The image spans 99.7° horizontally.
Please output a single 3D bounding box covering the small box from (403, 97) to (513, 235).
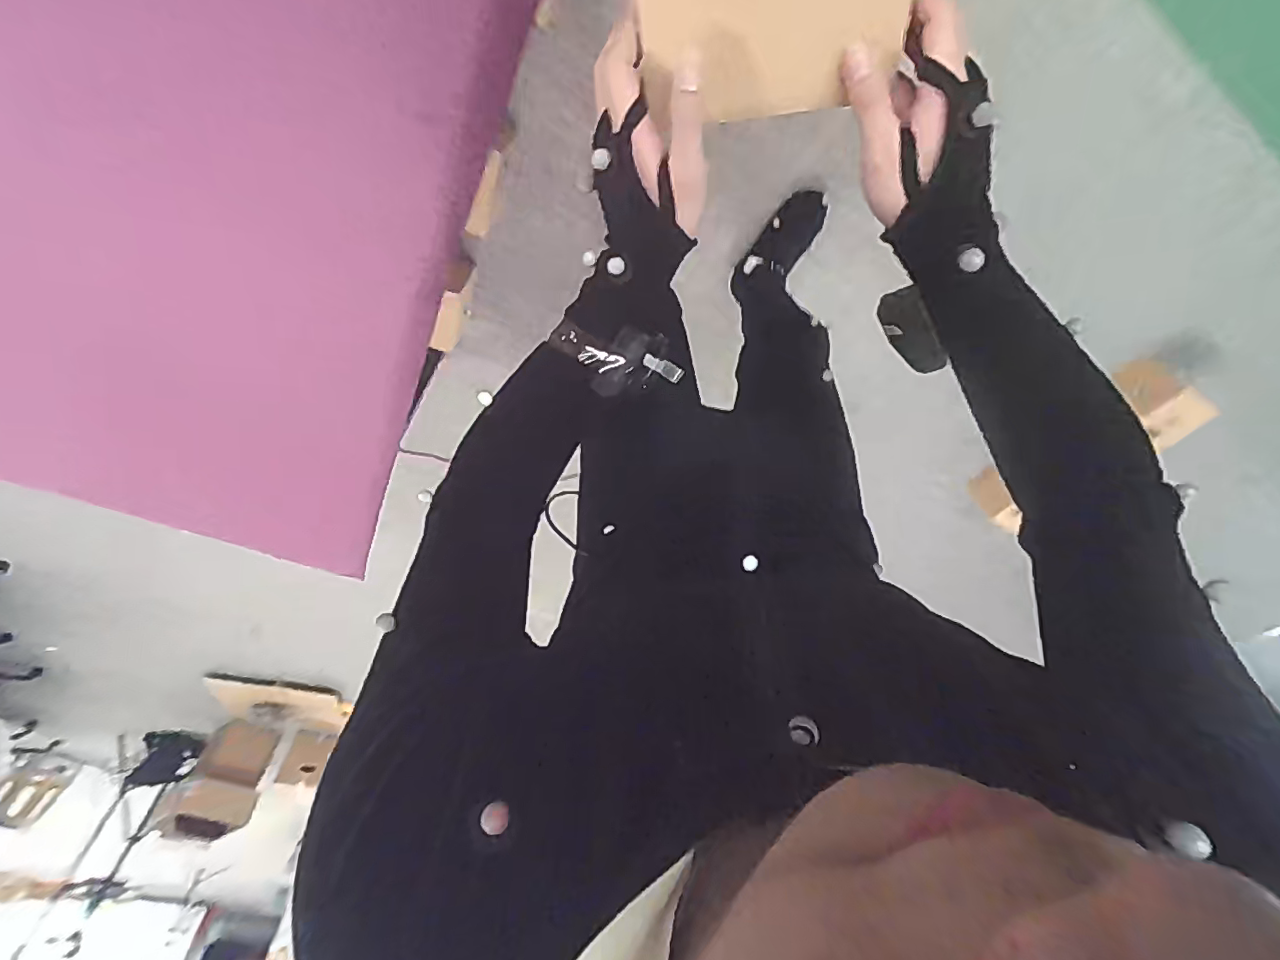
[{"bbox_3d":[-0.367,-0.645,1.106,0.168,0.176,0.179,17,133,-14],"label":"small box"}]

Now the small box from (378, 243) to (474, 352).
[{"bbox_3d":[-0.512,-0.443,1.304,0.179,0.176,0.168,15,133,-13],"label":"small box"}]

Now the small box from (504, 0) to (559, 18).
[{"bbox_3d":[-0.207,-0.884,0.867,0.179,0.176,0.168,17,132,-15],"label":"small box"}]

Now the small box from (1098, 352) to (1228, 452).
[{"bbox_3d":[1.414,-0.213,1.480,0.168,0.176,0.179,23,130,-20],"label":"small box"}]
